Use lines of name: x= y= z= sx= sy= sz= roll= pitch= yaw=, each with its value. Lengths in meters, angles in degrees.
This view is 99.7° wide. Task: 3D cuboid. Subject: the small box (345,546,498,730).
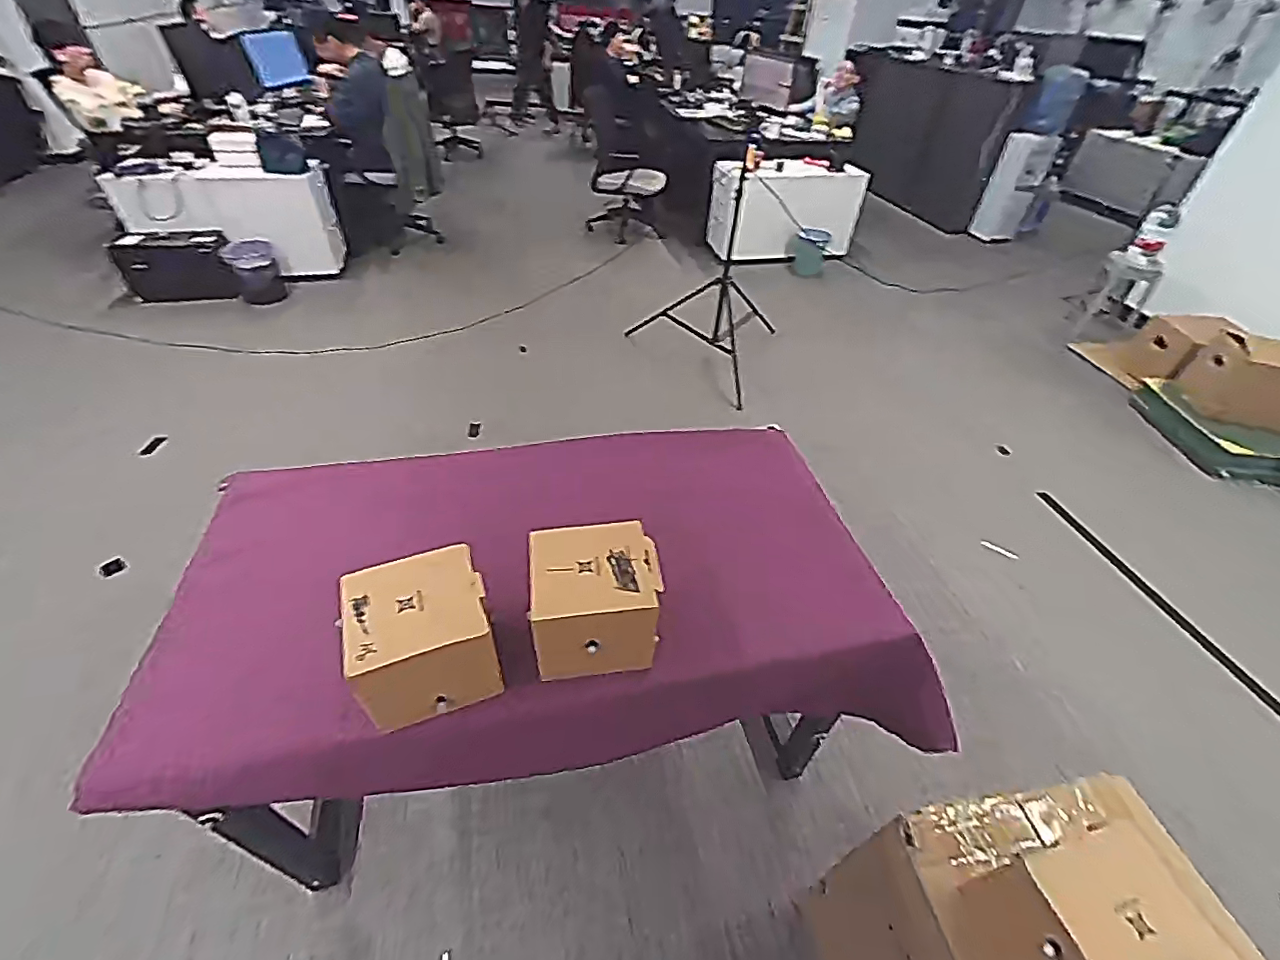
small box: x=-0.310 y=0.228 z=0.787 sx=0.179 sy=0.176 sz=0.168 roll=-14 pitch=44 yaw=-20

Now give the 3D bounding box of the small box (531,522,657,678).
small box: x=-0.076 y=0.188 z=0.847 sx=0.179 sy=0.176 sz=0.168 roll=-5 pitch=42 yaw=-8

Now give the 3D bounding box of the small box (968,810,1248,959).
small box: x=0.550 y=0.543 z=0.658 sx=0.168 sy=0.176 sz=0.179 roll=-12 pitch=46 yaw=-13
